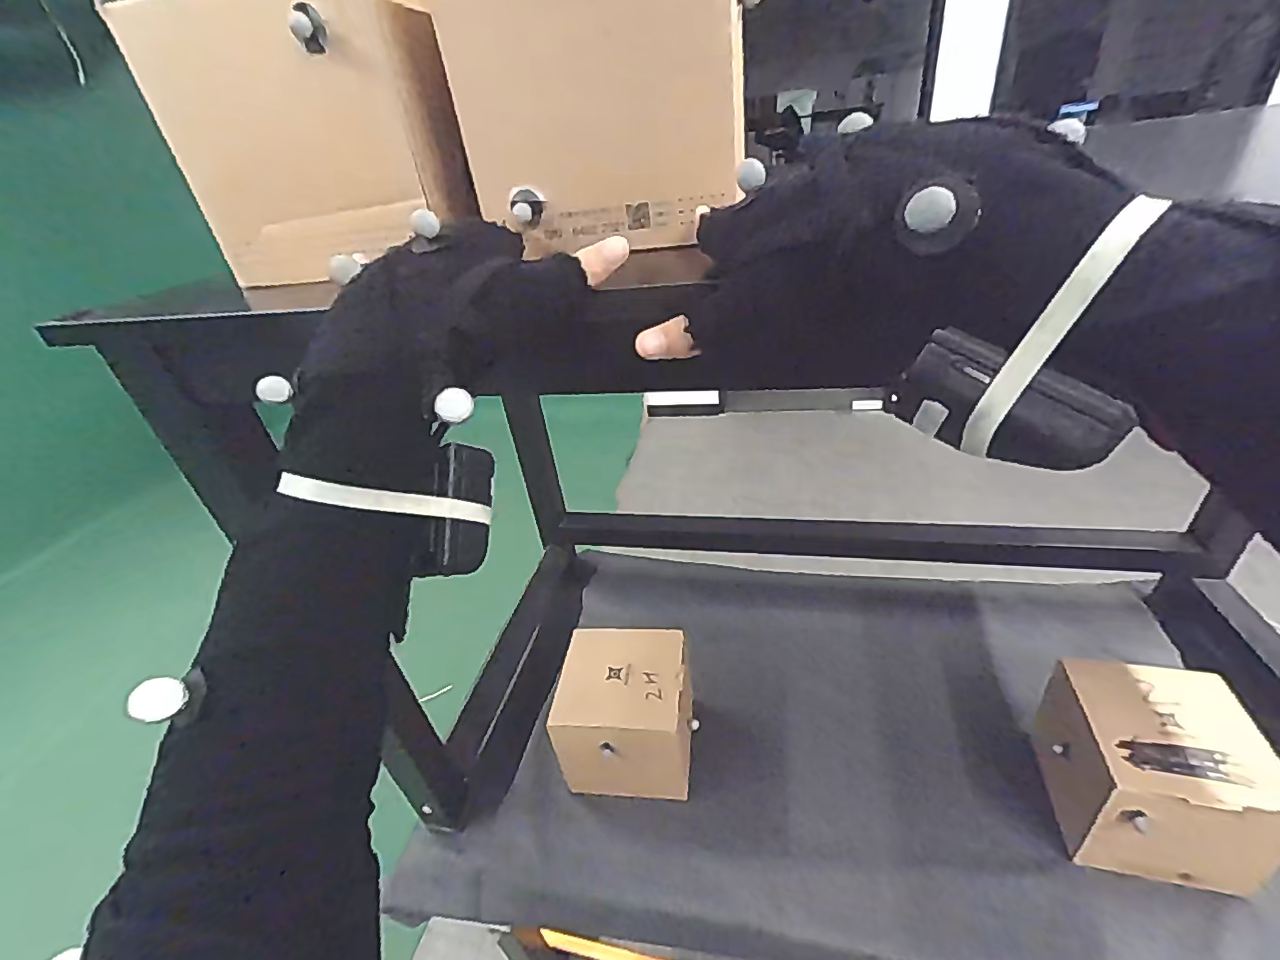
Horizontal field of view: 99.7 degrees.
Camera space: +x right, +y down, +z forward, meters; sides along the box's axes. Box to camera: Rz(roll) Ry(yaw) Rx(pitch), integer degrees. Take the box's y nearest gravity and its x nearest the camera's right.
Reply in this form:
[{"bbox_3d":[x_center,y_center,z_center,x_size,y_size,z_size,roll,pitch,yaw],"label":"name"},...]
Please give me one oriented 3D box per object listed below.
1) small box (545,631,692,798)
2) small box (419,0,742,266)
[{"bbox_3d":[-0.020,0.346,0.805,0.179,0.176,0.168,-1,33,10],"label":"small box"},{"bbox_3d":[-0.016,-0.254,0.378,0.168,0.176,0.179,0,33,13],"label":"small box"}]
